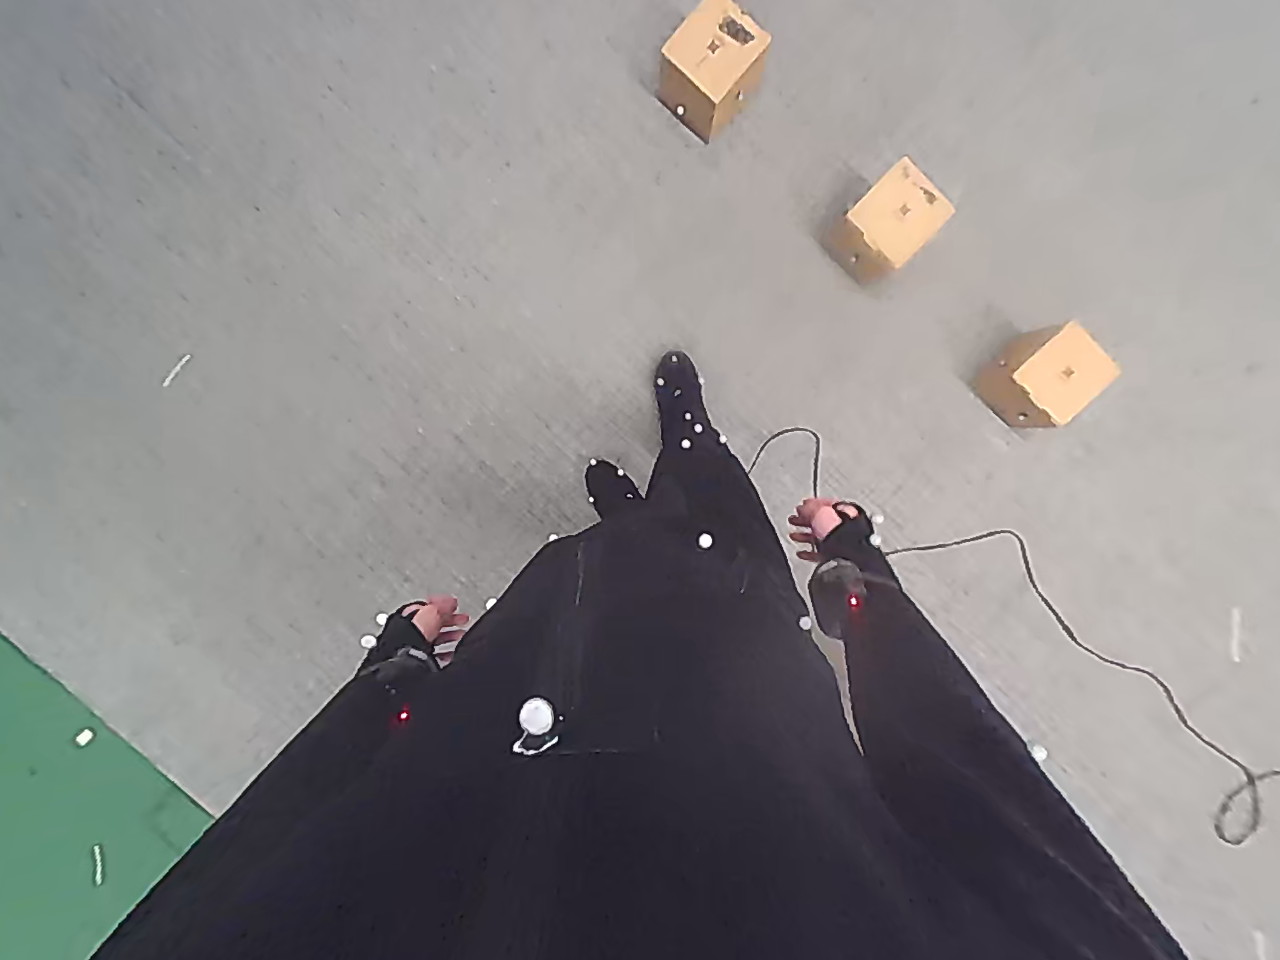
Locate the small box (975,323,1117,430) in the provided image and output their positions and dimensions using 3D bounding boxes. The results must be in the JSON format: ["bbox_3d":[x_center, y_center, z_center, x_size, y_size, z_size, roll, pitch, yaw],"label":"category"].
[{"bbox_3d":[0.929,-0.231,1.263,0.168,0.176,0.179,43,94,-2],"label":"small box"}]

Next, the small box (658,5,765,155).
[{"bbox_3d":[0.155,-0.900,1.236,0.168,0.176,0.179,41,96,-1],"label":"small box"}]

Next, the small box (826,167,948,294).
[{"bbox_3d":[0.555,-0.563,1.250,0.168,0.176,0.179,44,95,-1],"label":"small box"}]
